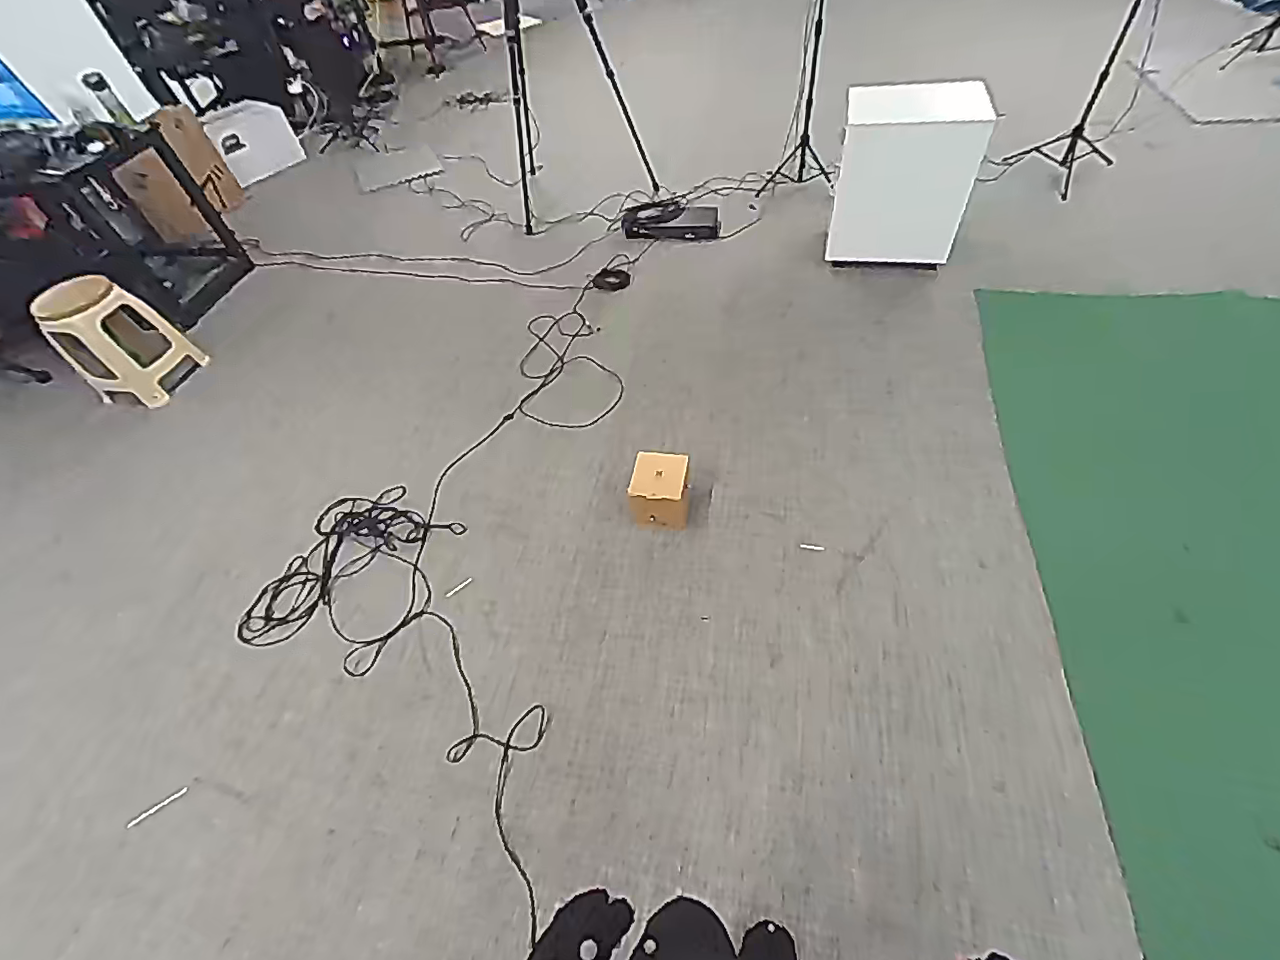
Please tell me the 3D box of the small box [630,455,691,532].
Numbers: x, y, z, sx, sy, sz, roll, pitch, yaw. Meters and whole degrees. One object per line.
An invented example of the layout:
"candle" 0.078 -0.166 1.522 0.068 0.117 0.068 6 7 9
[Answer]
"small box" 0.072 0.045 1.738 0.168 0.176 0.179 5 53 13
